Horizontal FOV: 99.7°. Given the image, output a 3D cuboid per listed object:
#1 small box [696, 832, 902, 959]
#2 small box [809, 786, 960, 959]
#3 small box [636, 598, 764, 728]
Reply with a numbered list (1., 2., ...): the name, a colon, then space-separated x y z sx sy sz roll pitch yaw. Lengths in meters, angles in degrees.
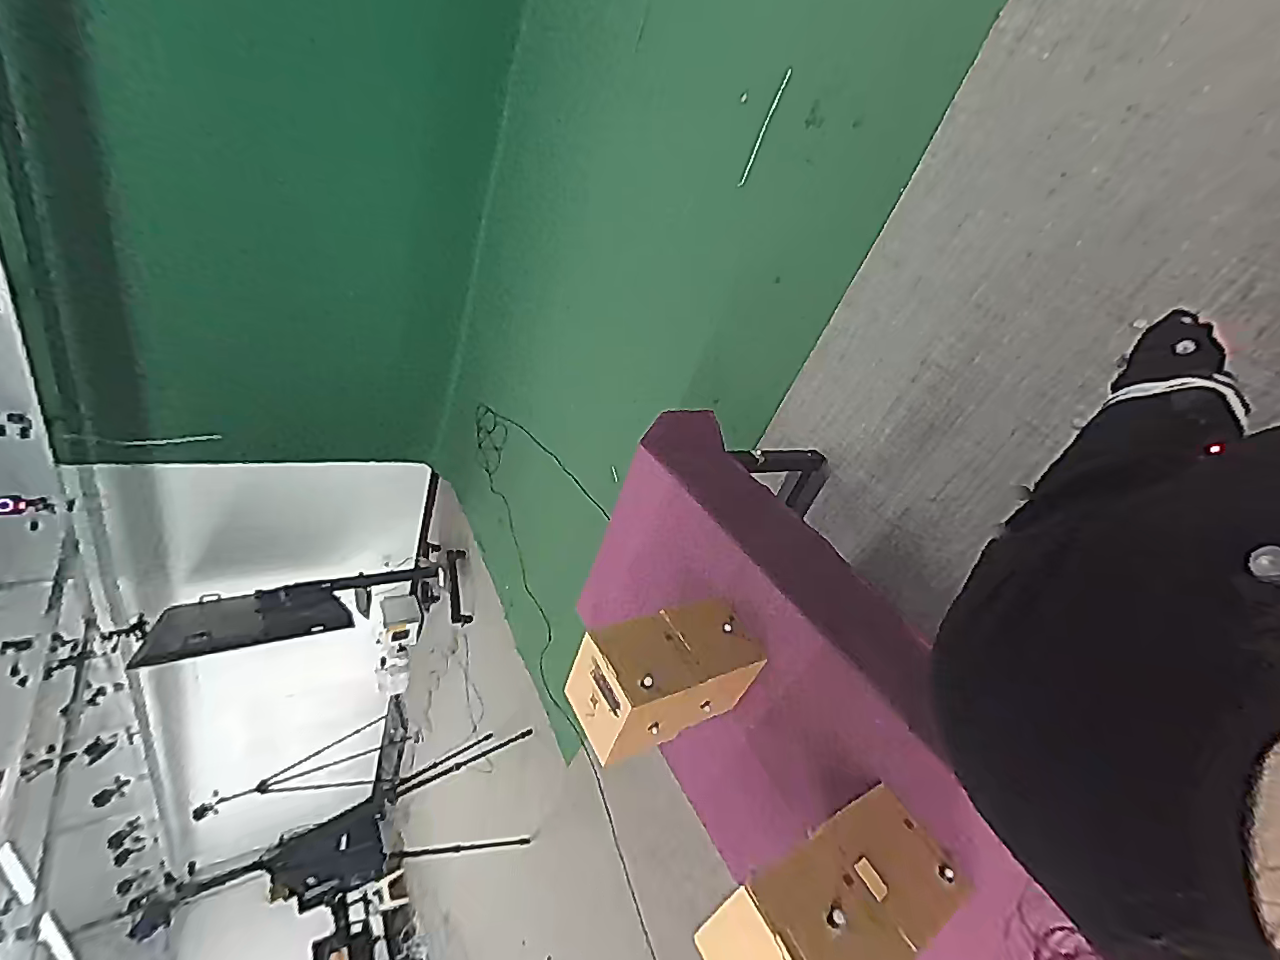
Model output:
1. small box: 0.212 0.614 0.719 0.168 0.176 0.179 51 130 40
2. small box: 0.344 0.605 0.817 0.168 0.176 0.179 49 130 41
3. small box: 0.122 0.366 1.104 0.168 0.176 0.179 51 130 38
